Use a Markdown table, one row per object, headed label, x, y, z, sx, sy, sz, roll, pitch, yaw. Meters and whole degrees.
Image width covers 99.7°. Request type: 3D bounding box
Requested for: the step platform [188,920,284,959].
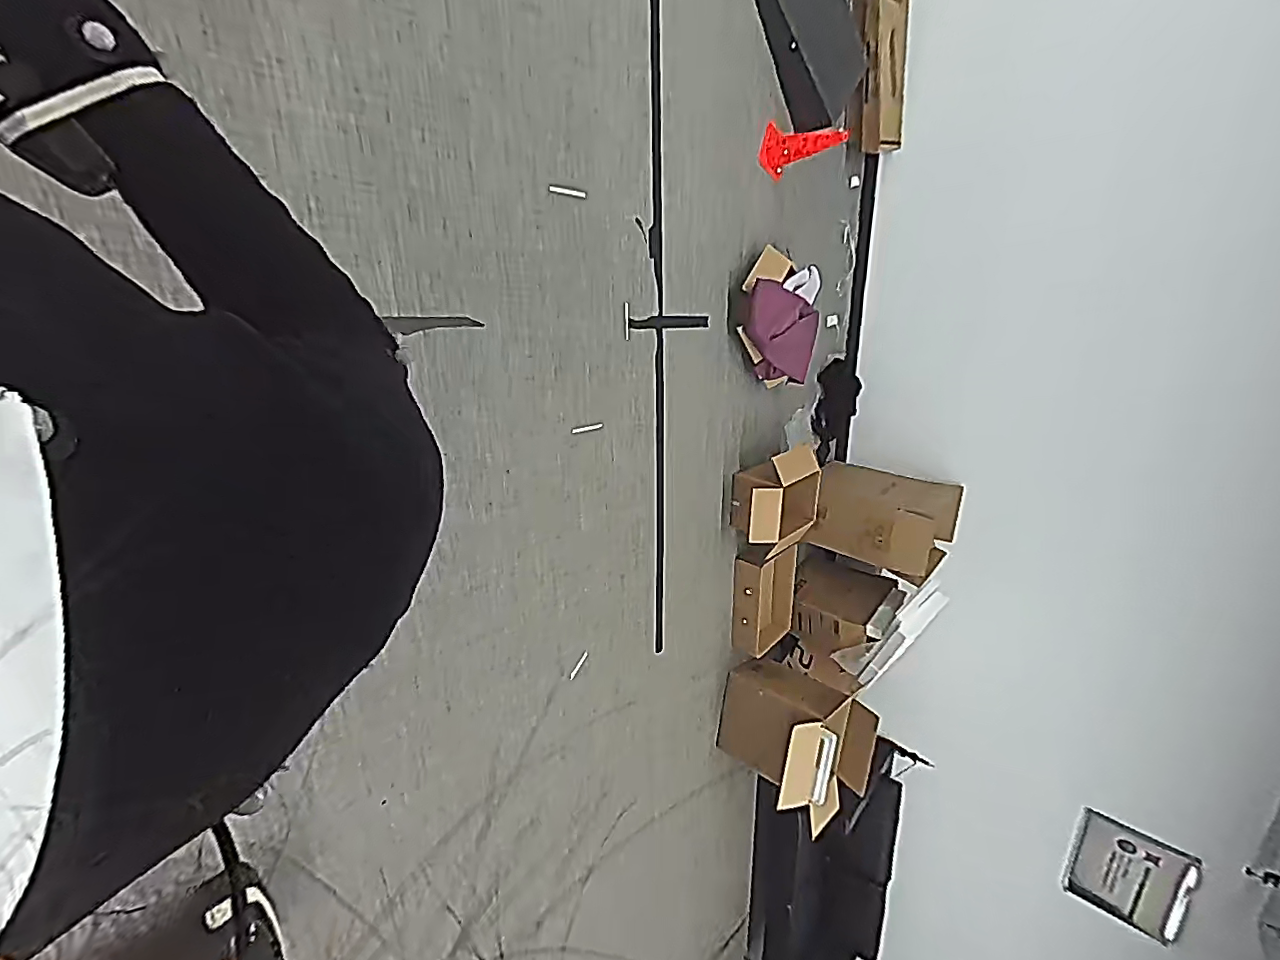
| label | x | y | z | sx | sy | sz | roll | pitch | yaw |
| --- | --- | --- | --- | --- | --- | --- | --- | --- | --- |
| step platform | -1.074 | 1.264 | 1.063 | 0.684 | 0.204 | 0.286 | -21 | 117 | -43 |
